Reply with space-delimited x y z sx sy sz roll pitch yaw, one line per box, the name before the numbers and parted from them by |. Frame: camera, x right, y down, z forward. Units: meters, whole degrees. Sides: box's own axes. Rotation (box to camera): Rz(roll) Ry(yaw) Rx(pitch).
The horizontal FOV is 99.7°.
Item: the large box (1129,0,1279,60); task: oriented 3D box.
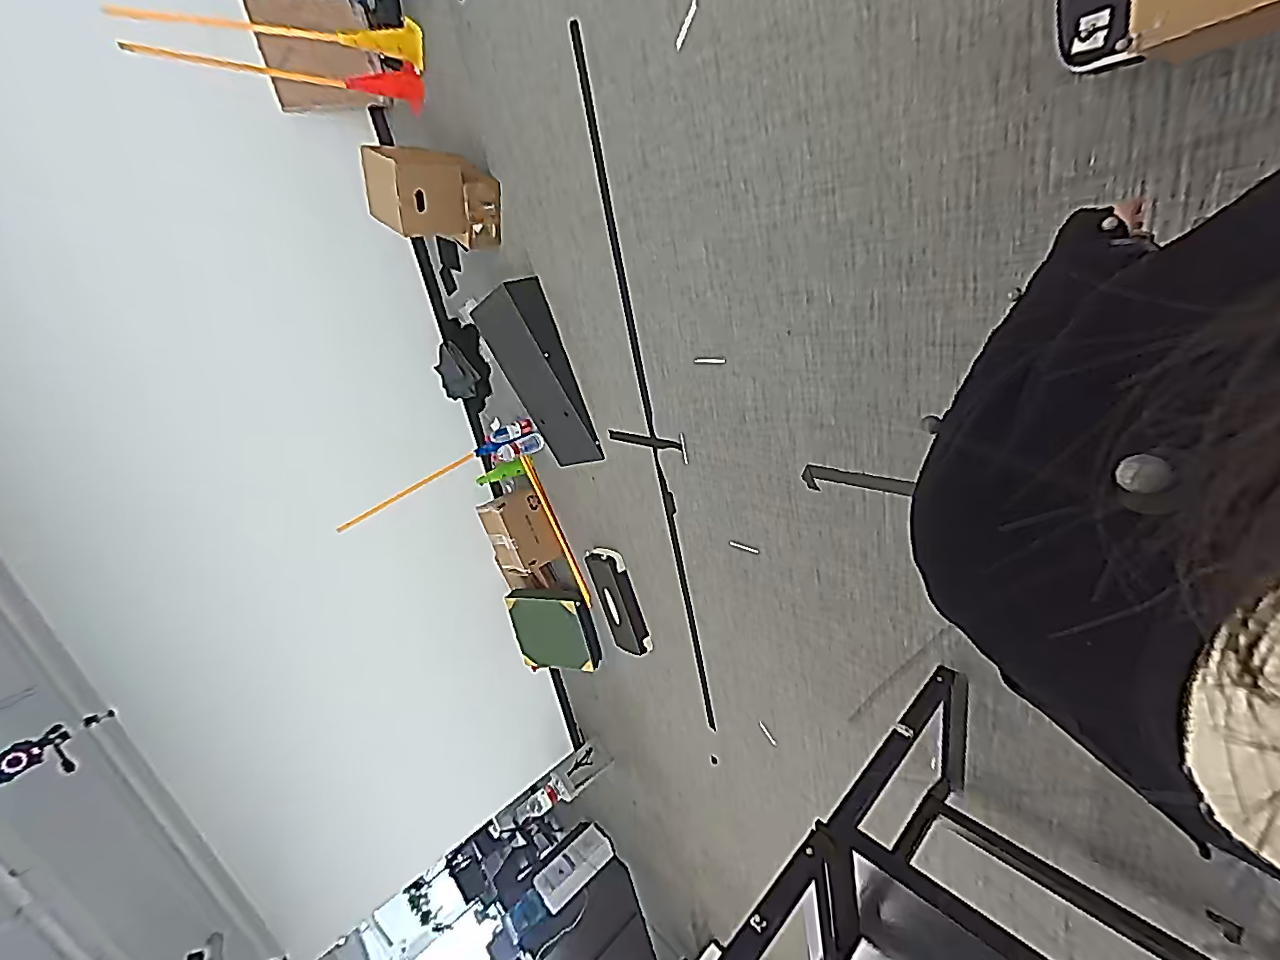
large box | 0.810 -0.701 0.550 0.408 0.320 0.320 12 120 50
